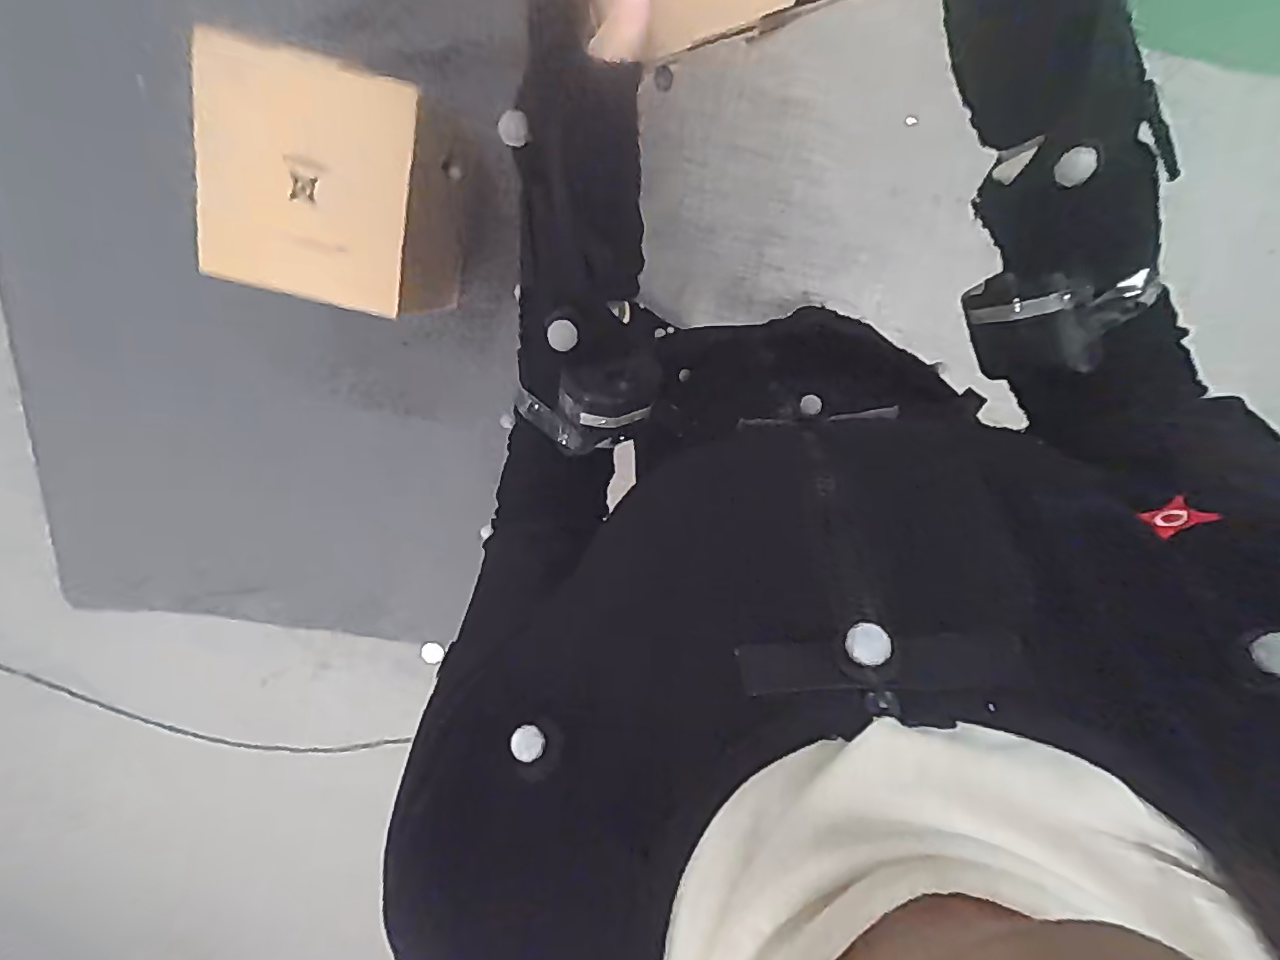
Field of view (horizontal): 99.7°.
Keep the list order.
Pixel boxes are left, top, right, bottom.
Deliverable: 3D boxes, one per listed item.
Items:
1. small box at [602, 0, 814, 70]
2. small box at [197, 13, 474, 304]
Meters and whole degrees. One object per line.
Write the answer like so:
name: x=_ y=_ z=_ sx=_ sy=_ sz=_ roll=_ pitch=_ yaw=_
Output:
small box: x=0.043 y=-0.313 z=0.234 sx=0.168 sy=0.176 sz=0.179 roll=-17 pitch=127 yaw=9
small box: x=-0.266 y=-0.278 z=0.508 sx=0.168 sy=0.176 sz=0.179 roll=13 pitch=111 yaw=-4
